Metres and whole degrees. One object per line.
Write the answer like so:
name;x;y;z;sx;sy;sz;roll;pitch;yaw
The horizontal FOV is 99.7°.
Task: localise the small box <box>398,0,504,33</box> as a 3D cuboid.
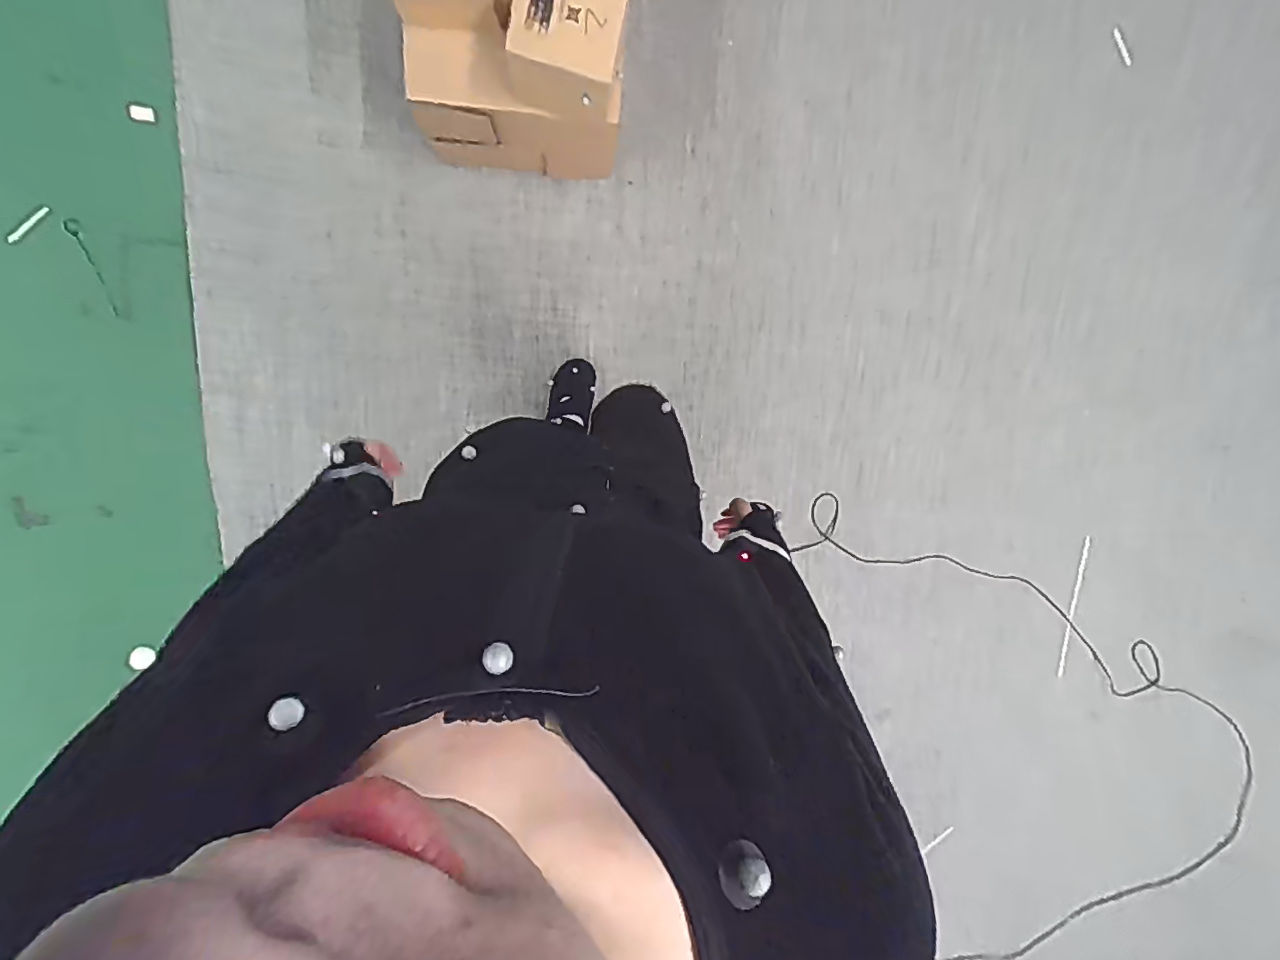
small box;-0.322;-0.889;0.898;0.179;0.176;0.168;1;99;-5
